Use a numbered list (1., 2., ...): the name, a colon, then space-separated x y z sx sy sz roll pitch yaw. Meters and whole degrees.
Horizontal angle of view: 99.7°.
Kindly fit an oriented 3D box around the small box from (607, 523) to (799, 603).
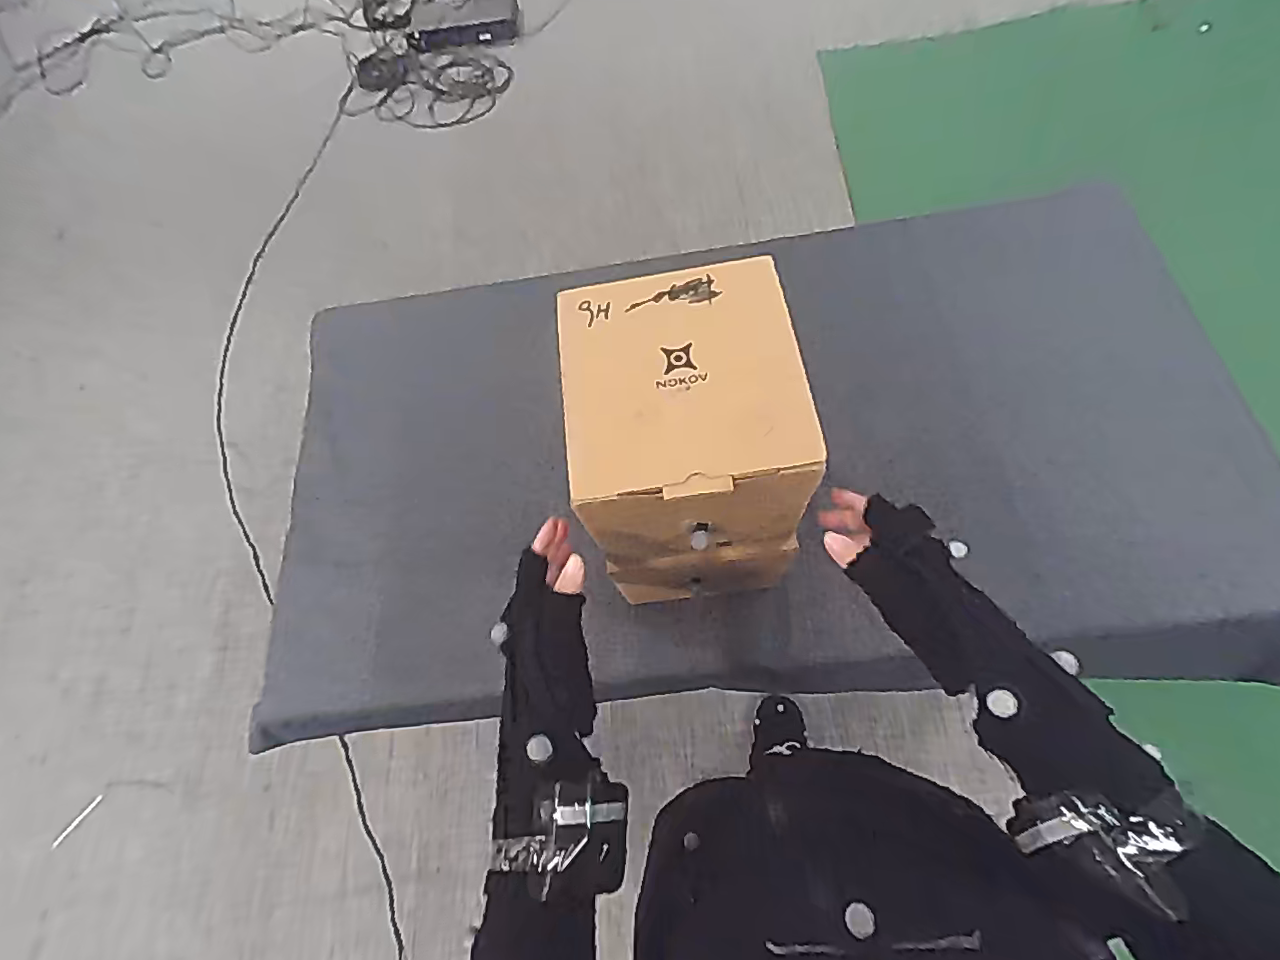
1. small box: 0.059 0.033 0.592 0.179 0.176 0.168 -8 67 4

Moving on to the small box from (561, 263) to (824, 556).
1. small box: 0.038 -0.041 0.447 0.168 0.176 0.179 -8 67 3
